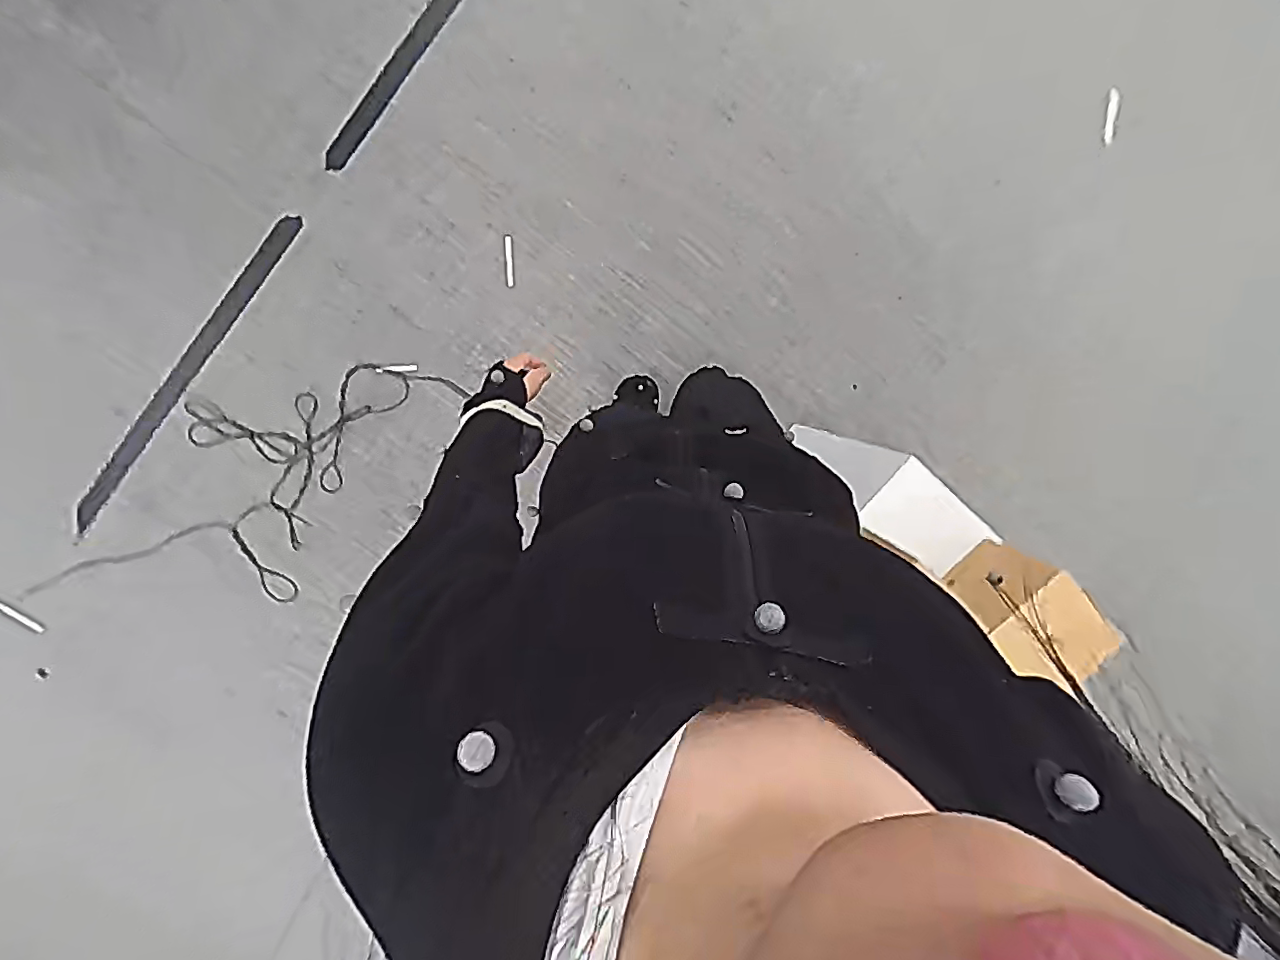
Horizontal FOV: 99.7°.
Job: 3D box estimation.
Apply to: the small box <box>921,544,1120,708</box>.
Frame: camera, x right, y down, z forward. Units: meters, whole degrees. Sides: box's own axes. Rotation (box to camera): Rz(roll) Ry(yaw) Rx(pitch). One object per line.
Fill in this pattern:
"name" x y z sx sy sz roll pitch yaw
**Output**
"small box" 0.615 0.227 0.898 0.179 0.176 0.168 43 96 -11
